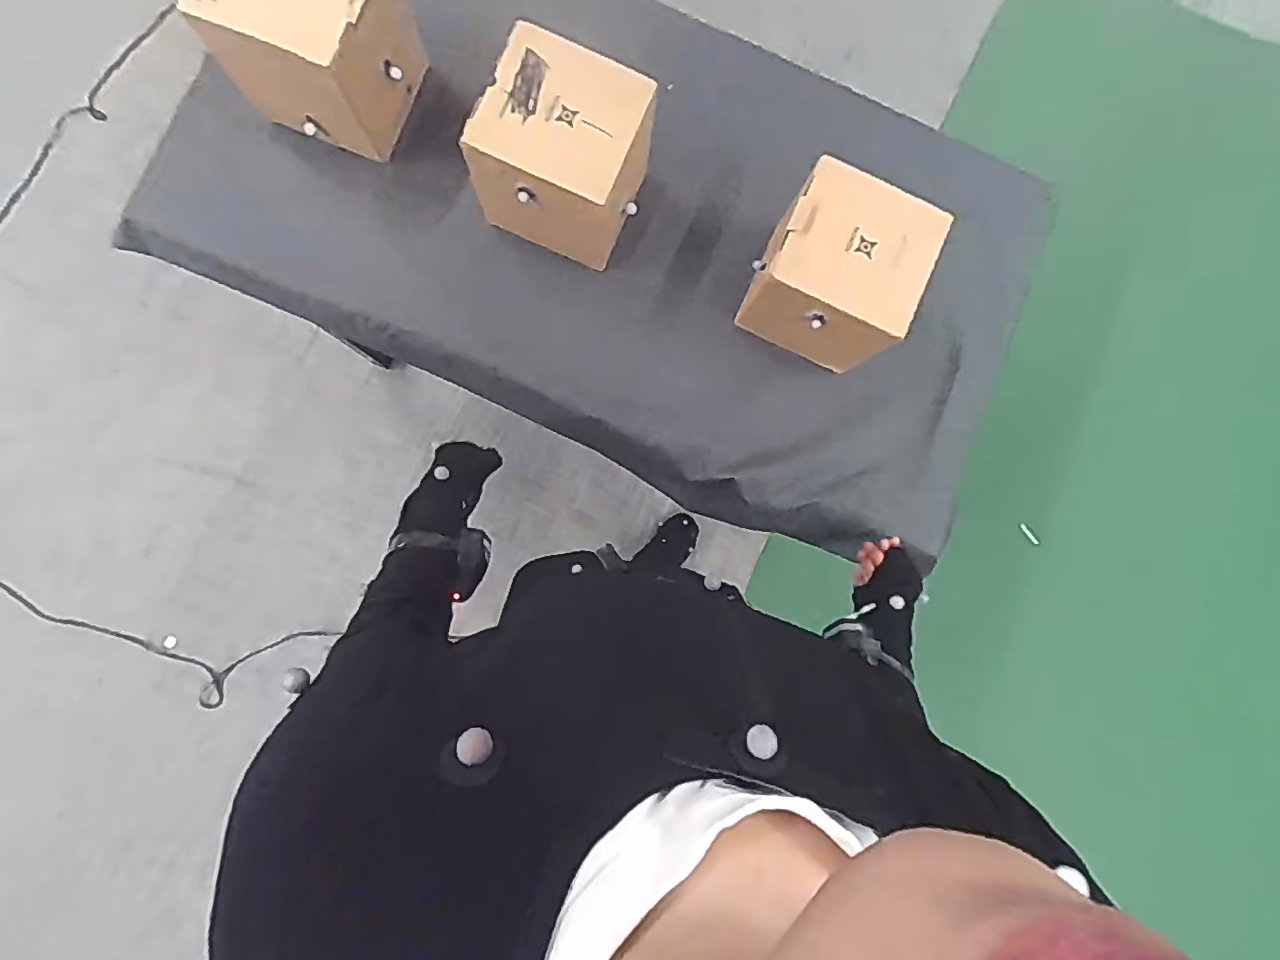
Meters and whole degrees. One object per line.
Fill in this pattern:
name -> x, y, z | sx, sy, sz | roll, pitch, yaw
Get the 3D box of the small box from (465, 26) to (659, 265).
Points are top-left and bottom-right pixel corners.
small box -> -0.094, -0.410, 0.695 | 0.179, 0.176, 0.168 | 23, 85, -3

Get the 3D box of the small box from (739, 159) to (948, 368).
small box -> 0.252, -0.268, 0.716 | 0.179, 0.176, 0.168 | 24, 86, -3

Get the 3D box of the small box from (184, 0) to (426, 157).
small box -> -0.397, -0.551, 0.680 | 0.179, 0.176, 0.168 | 20, 85, -4
